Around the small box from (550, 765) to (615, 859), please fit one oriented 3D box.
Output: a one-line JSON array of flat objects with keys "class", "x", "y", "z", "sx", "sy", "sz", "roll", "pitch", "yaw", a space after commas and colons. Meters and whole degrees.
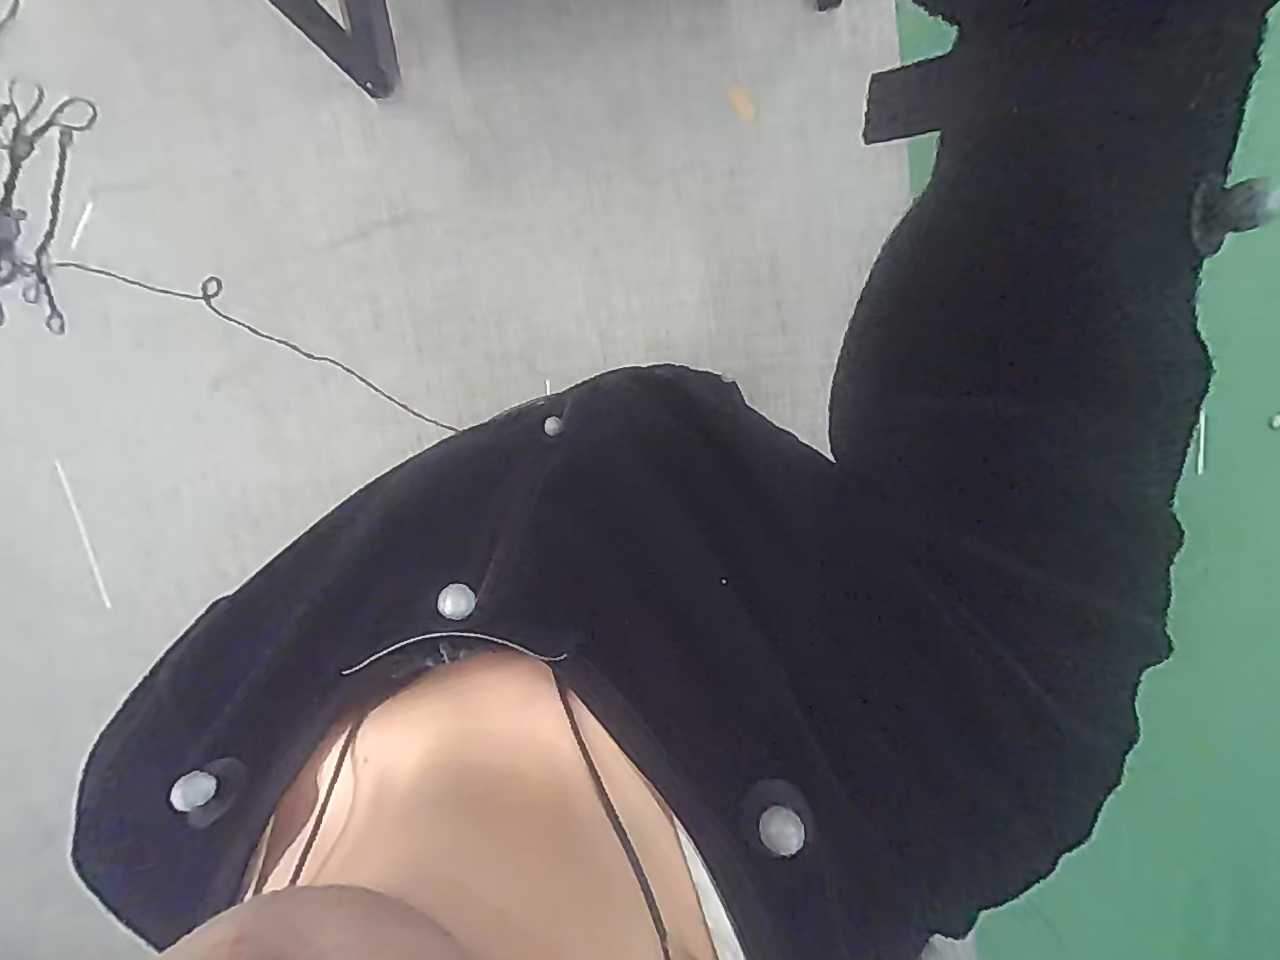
[{"class": "small box", "x": -0.166, "y": 0.966, "z": 1.585, "sx": 0.168, "sy": 0.176, "sz": 0.179, "roll": -1, "pitch": 100, "yaw": 5}]
